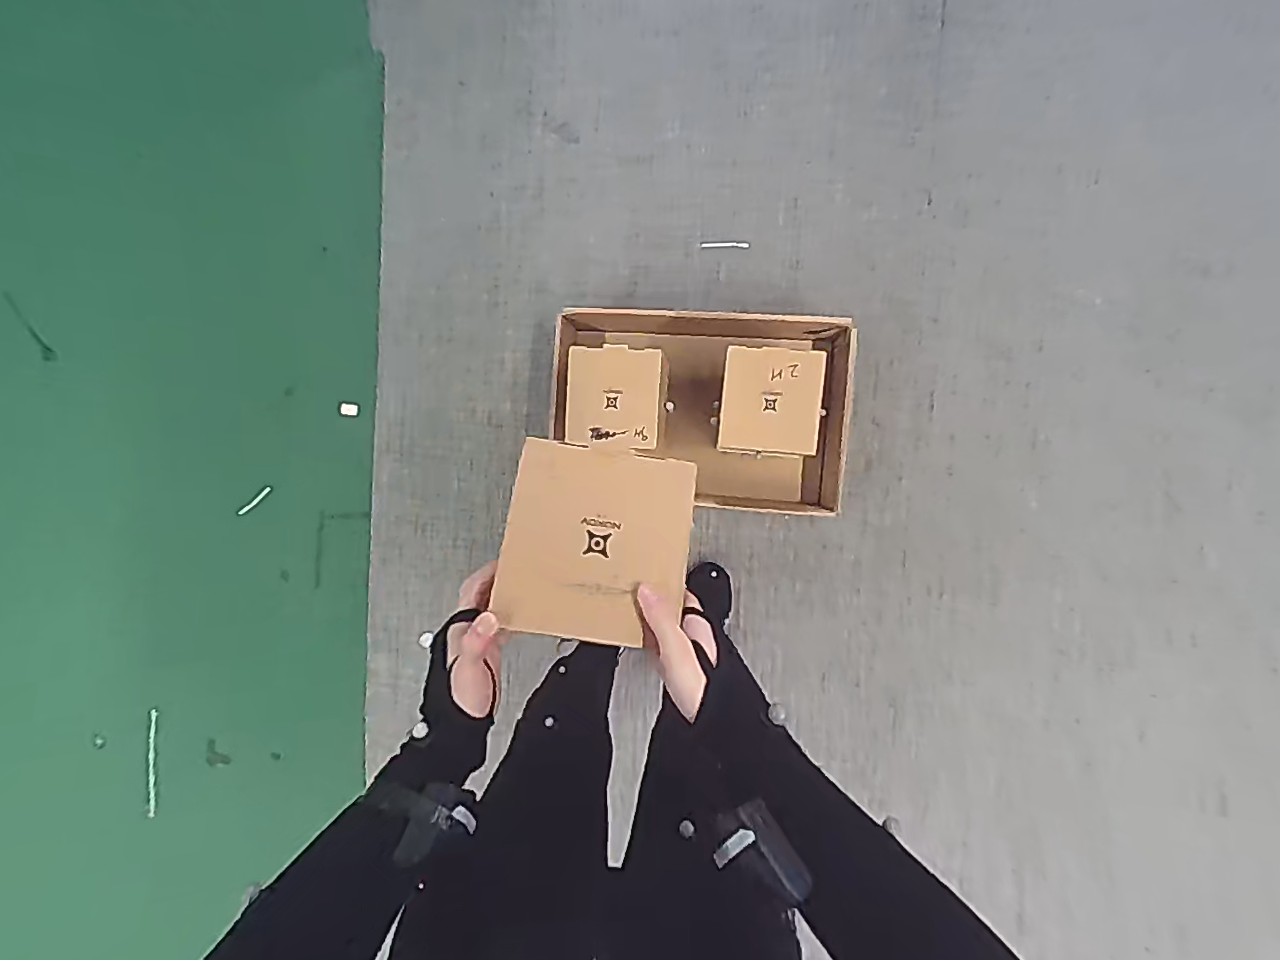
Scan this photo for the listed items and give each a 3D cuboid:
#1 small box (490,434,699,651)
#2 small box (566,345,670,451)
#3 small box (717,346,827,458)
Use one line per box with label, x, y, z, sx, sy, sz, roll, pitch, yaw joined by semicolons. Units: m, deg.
small box;-0.044;0.074;0.562;0.168;0.176;0.179;10;73;-3
small box;-0.035;-0.148;1.022;0.168;0.176;0.179;4;93;8
small box;0.235;-0.136;0.990;0.168;0.176;0.179;6;93;8
